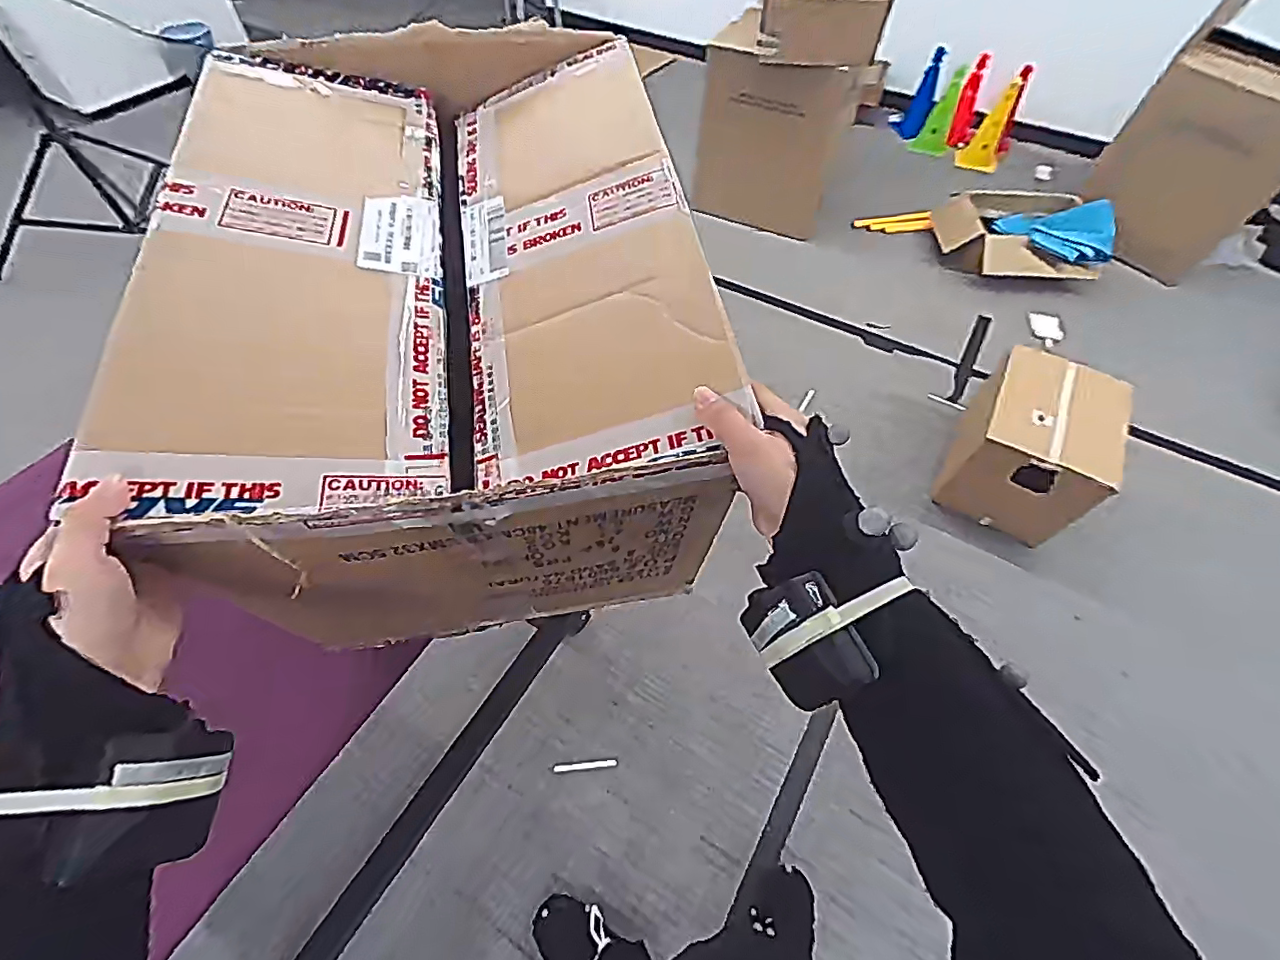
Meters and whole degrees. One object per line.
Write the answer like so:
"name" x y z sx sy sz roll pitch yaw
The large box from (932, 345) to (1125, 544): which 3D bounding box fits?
"large box" 1.093 -0.101 1.541 0.320 0.320 0.408 26 60 16
